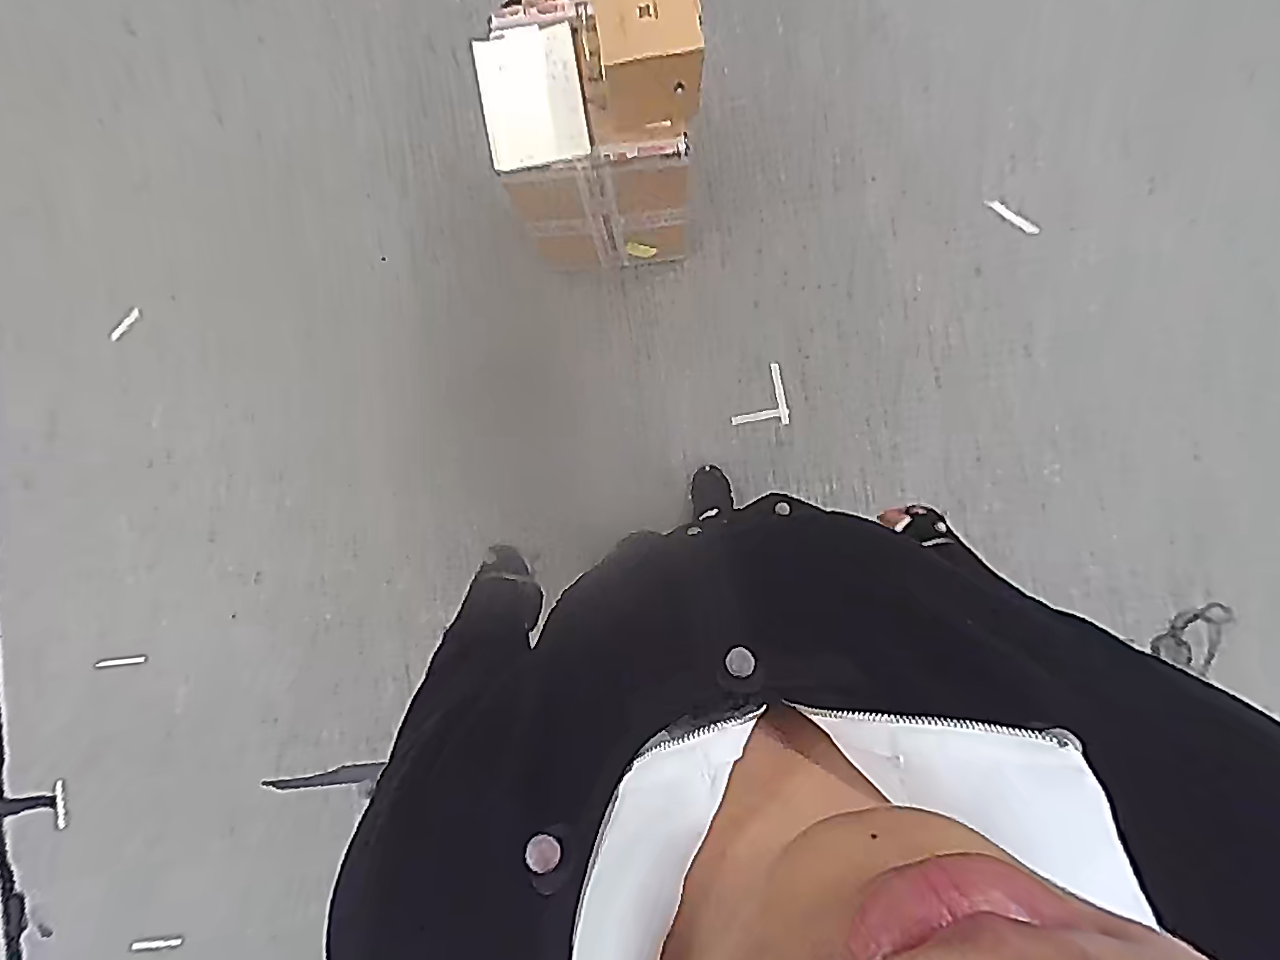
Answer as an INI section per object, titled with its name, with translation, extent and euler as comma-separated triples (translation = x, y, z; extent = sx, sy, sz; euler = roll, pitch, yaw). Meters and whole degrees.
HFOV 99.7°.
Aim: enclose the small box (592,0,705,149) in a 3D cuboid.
[small box]
translation = 0.016, -0.758, 1.007
extent = 0.179, 0.176, 0.168
euler = -10, 87, 3
